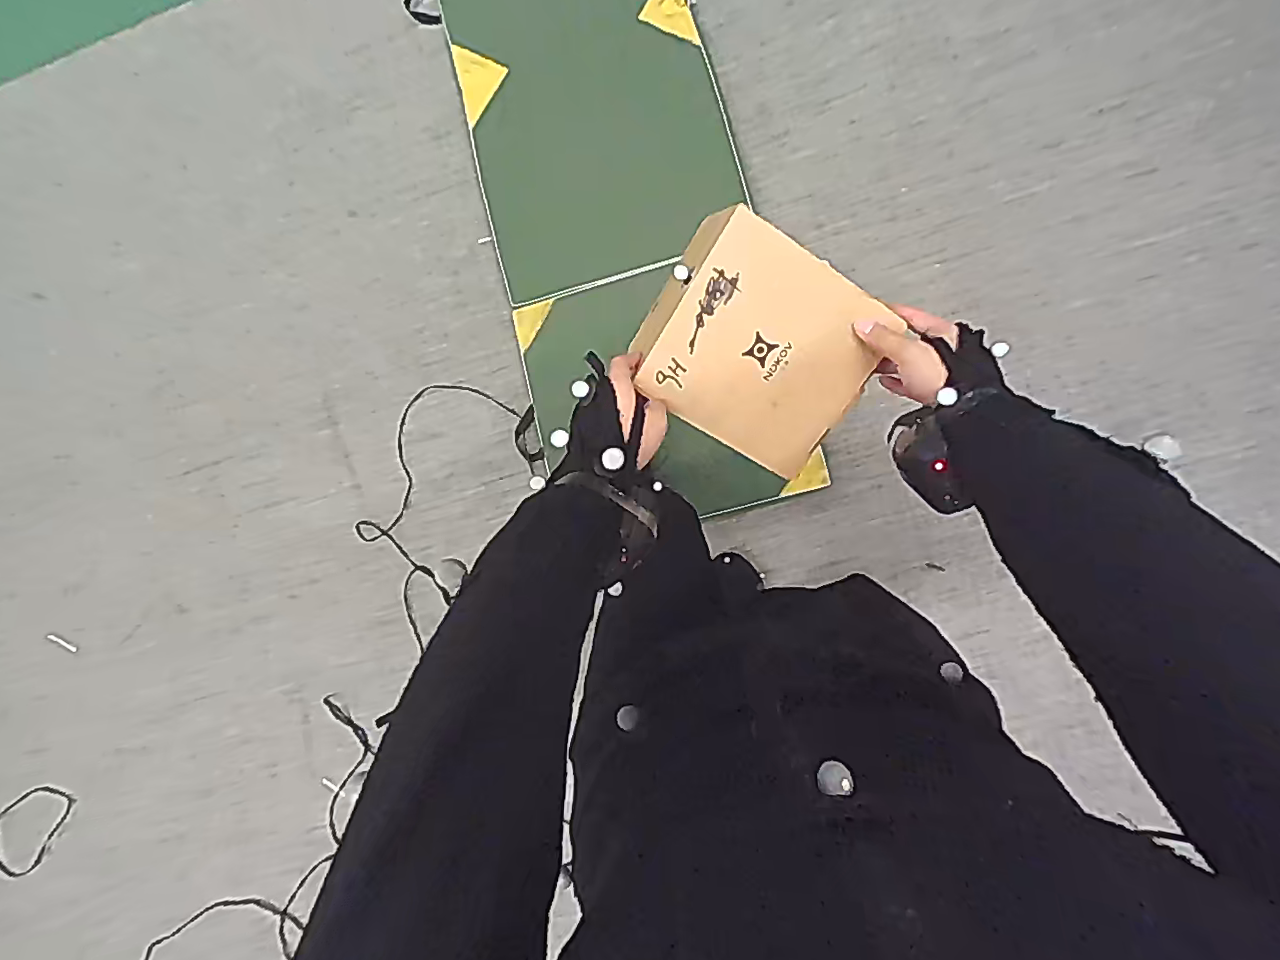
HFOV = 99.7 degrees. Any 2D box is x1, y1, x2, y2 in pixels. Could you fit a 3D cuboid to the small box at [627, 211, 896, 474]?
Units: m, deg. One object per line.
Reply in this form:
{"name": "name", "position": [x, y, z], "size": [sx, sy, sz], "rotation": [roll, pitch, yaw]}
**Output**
{"name": "small box", "position": [0.102, -0.139, 0.536], "size": [0.179, 0.176, 0.168], "rotation": [29, 109, -13]}
